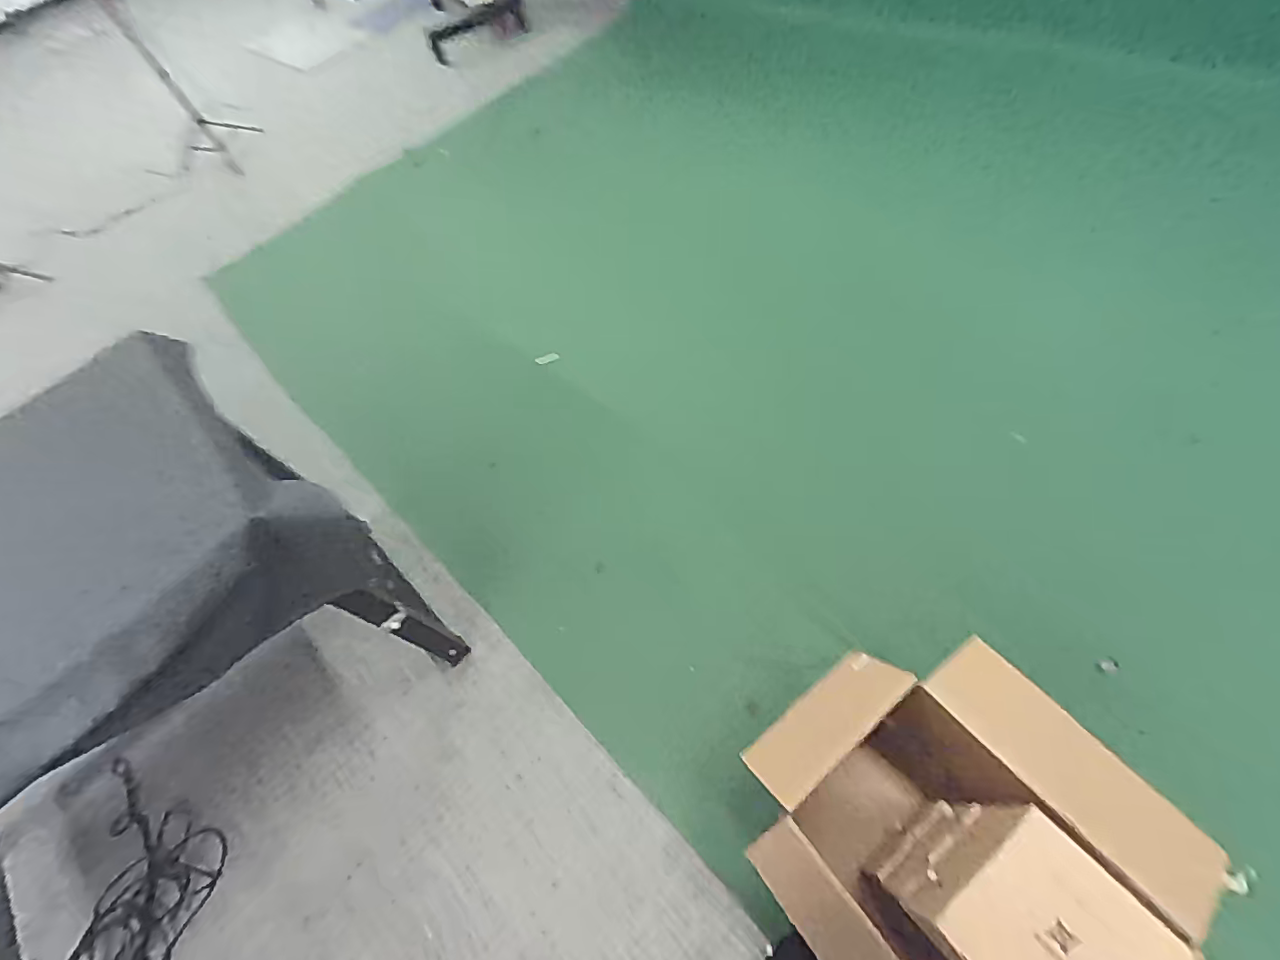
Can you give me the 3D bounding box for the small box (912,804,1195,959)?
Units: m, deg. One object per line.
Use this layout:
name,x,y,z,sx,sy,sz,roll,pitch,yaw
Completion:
small box,0.437,0.503,0.611,0.179,0.176,0.168,-38,59,-13
